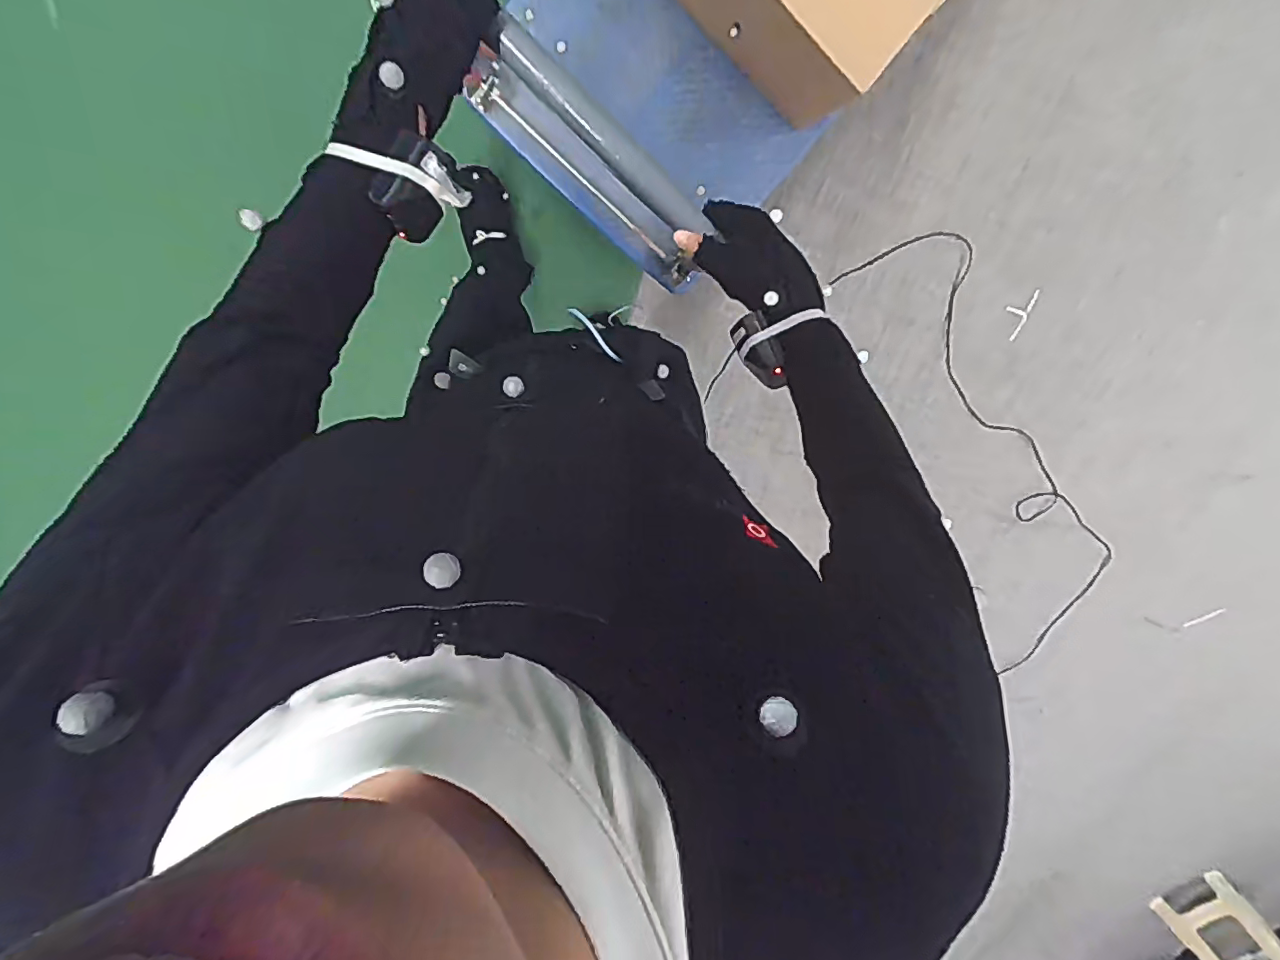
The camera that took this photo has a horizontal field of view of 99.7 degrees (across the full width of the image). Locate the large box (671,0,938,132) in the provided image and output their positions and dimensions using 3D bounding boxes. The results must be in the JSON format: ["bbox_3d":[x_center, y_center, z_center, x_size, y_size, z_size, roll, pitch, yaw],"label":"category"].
[{"bbox_3d":[0.254,-0.830,0.822,0.408,0.320,0.320,37,107,-16],"label":"large box"}]
